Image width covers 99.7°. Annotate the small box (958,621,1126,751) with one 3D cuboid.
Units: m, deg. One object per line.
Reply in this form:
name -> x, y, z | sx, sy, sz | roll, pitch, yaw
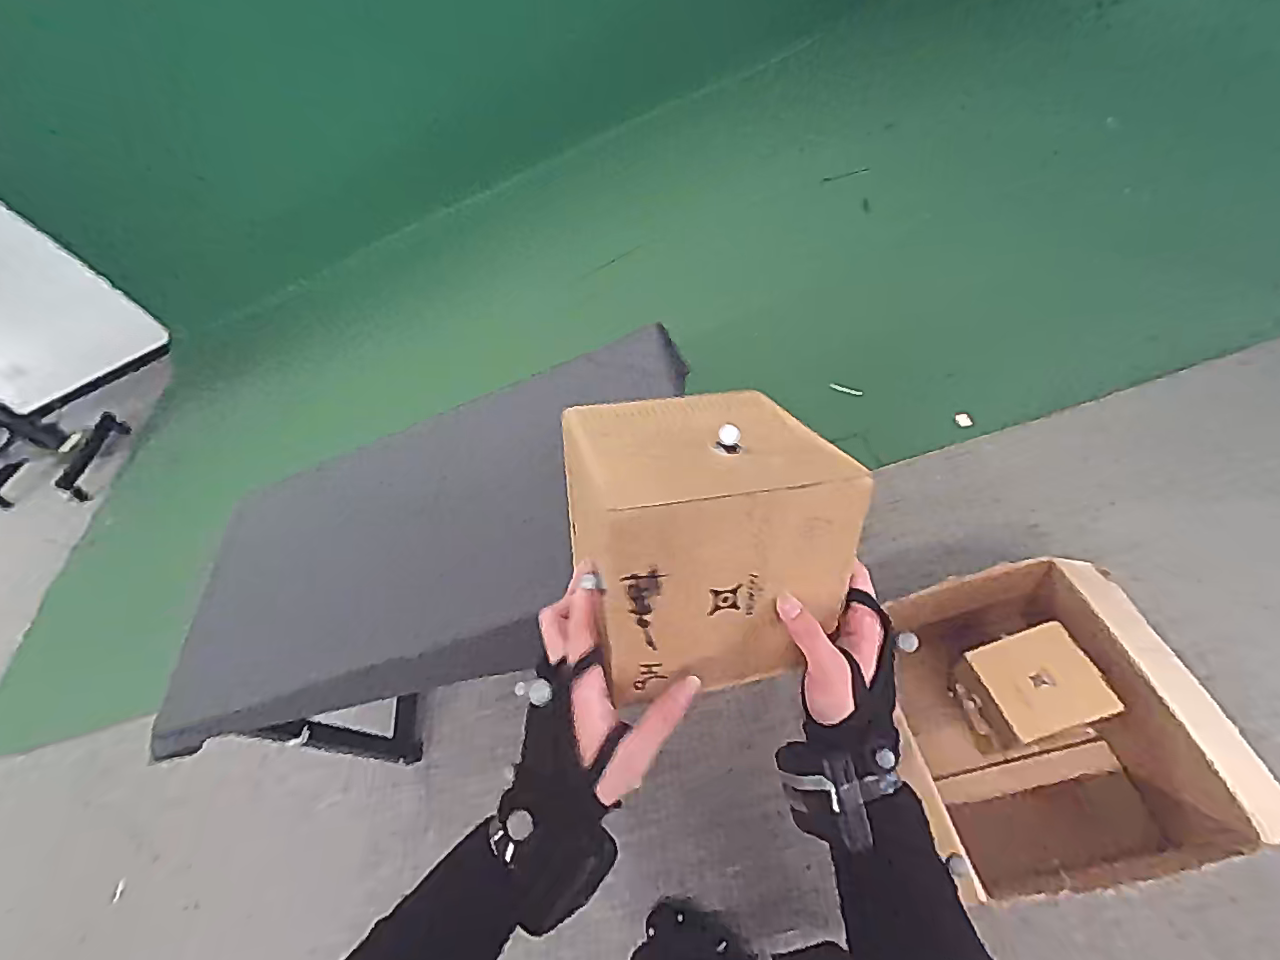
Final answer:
small box -> 0.730, 0.390, 1.010 | 0.179, 0.176, 0.168 | -25, 53, 8
